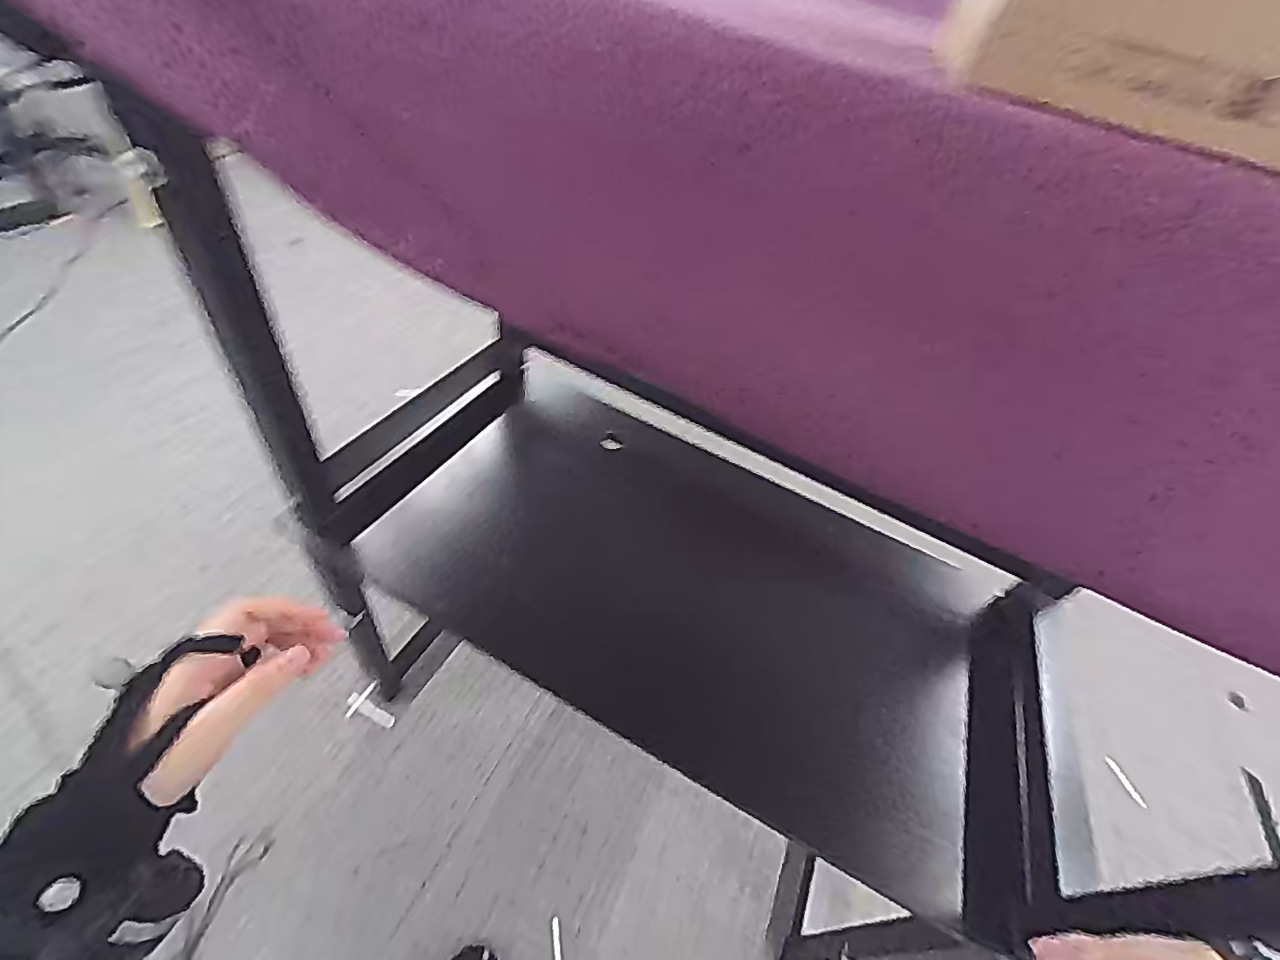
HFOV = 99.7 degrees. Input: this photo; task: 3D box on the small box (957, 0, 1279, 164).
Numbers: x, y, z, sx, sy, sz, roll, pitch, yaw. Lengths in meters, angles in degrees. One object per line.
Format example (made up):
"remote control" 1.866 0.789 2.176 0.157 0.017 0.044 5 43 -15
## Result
"small box" 0.264 -0.256 0.227 0.168 0.176 0.179 21 46 6
